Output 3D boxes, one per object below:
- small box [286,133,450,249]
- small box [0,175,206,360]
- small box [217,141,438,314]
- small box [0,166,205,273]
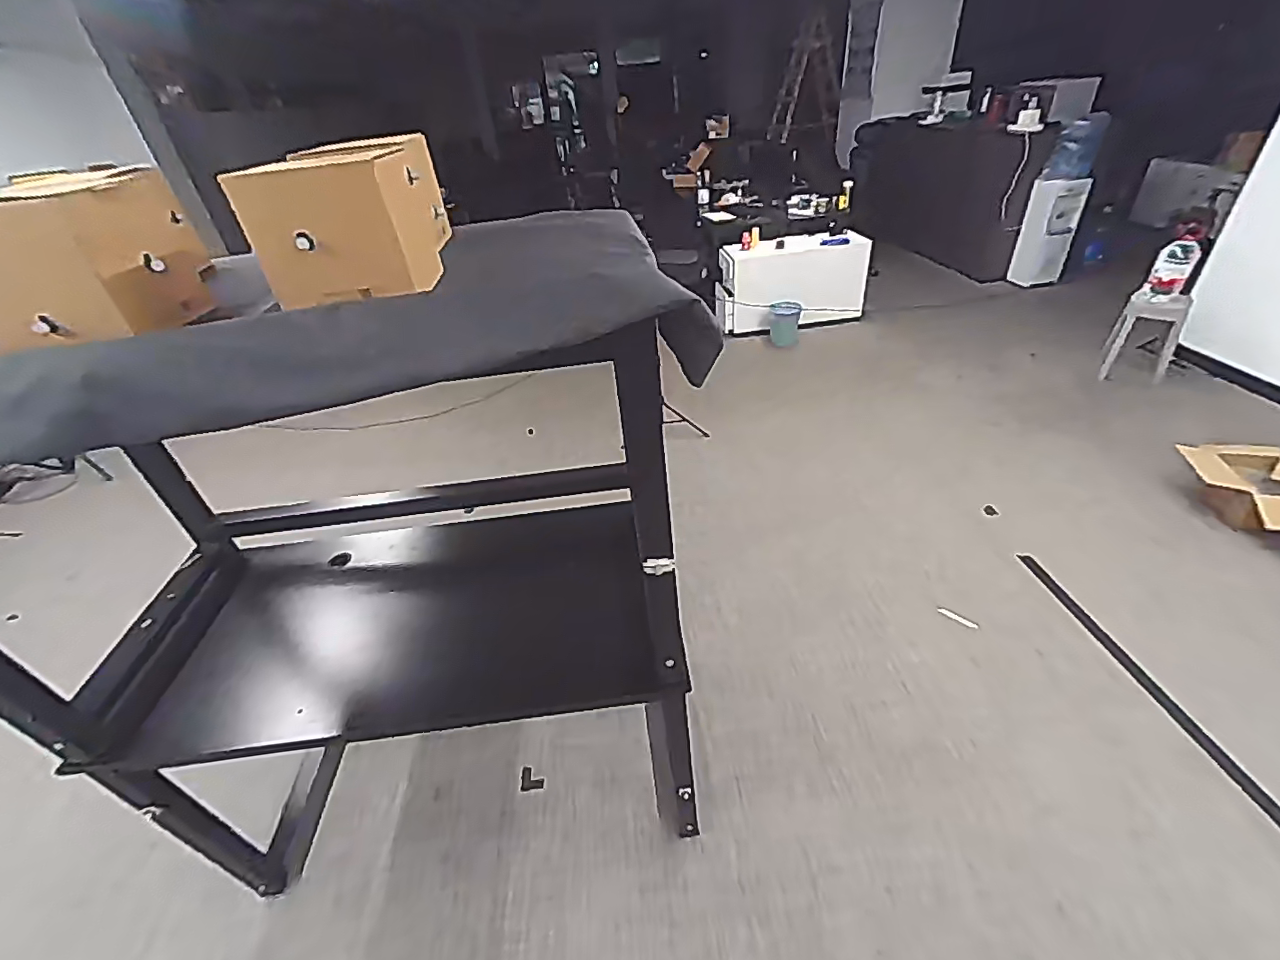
[{"bbox_3d":[-0.448,-0.481,0.923,0.179,0.176,0.168,-8,37,-1],"label":"small box"},{"bbox_3d":[-0.692,-0.260,0.658,0.179,0.176,0.168,-8,34,-3],"label":"small box"},{"bbox_3d":[-0.375,-0.322,0.694,0.168,0.176,0.179,-9,35,-3],"label":"small box"},{"bbox_3d":[-0.874,-0.408,0.894,0.168,0.176,0.179,-13,36,-6],"label":"small box"}]
